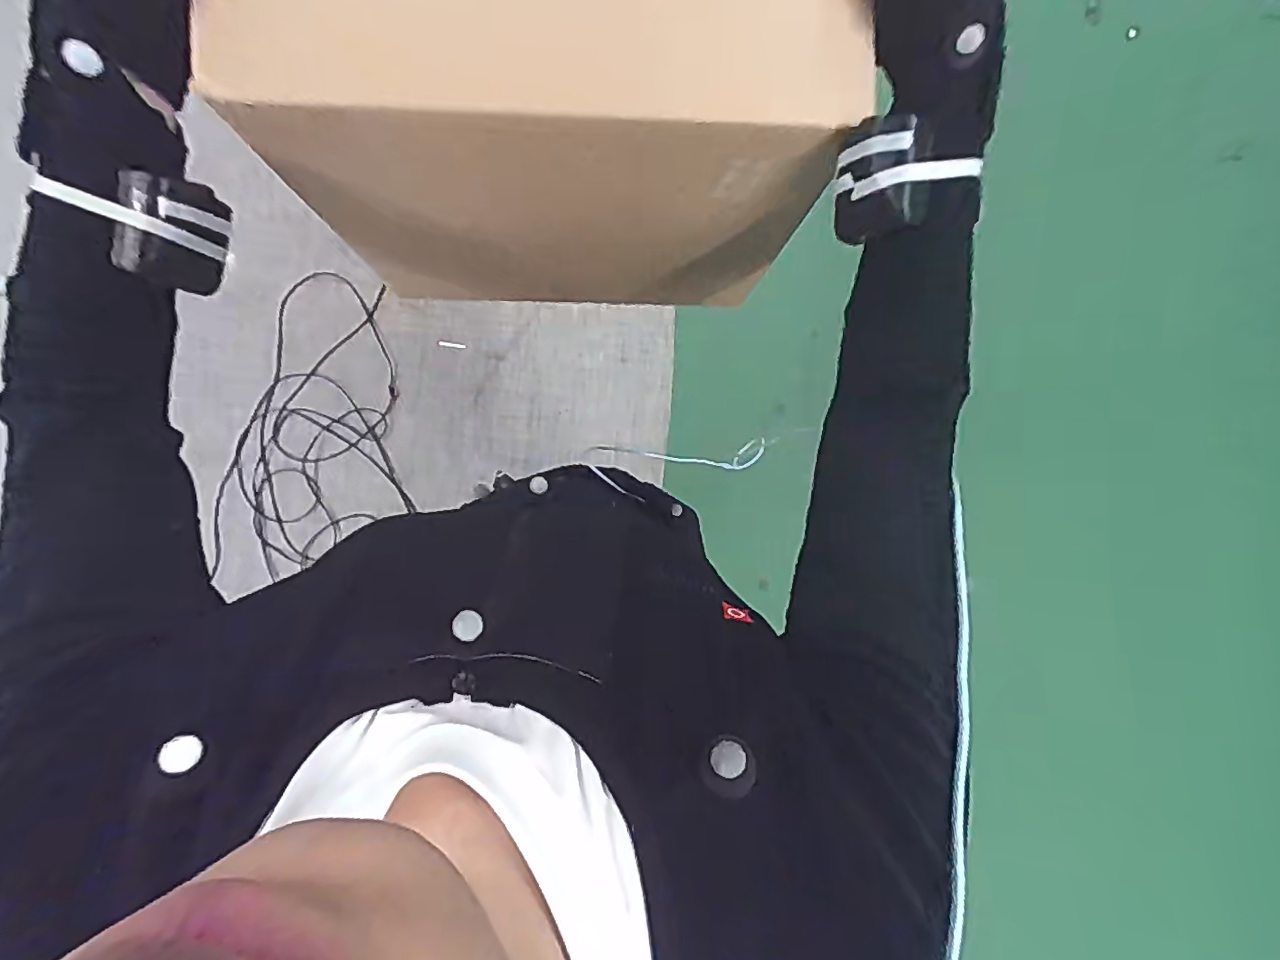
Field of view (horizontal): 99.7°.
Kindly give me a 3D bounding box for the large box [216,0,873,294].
[{"bbox_3d":[-0.065,-0.376,0.485,0.408,0.320,0.320,0,88,-6],"label":"large box"}]
